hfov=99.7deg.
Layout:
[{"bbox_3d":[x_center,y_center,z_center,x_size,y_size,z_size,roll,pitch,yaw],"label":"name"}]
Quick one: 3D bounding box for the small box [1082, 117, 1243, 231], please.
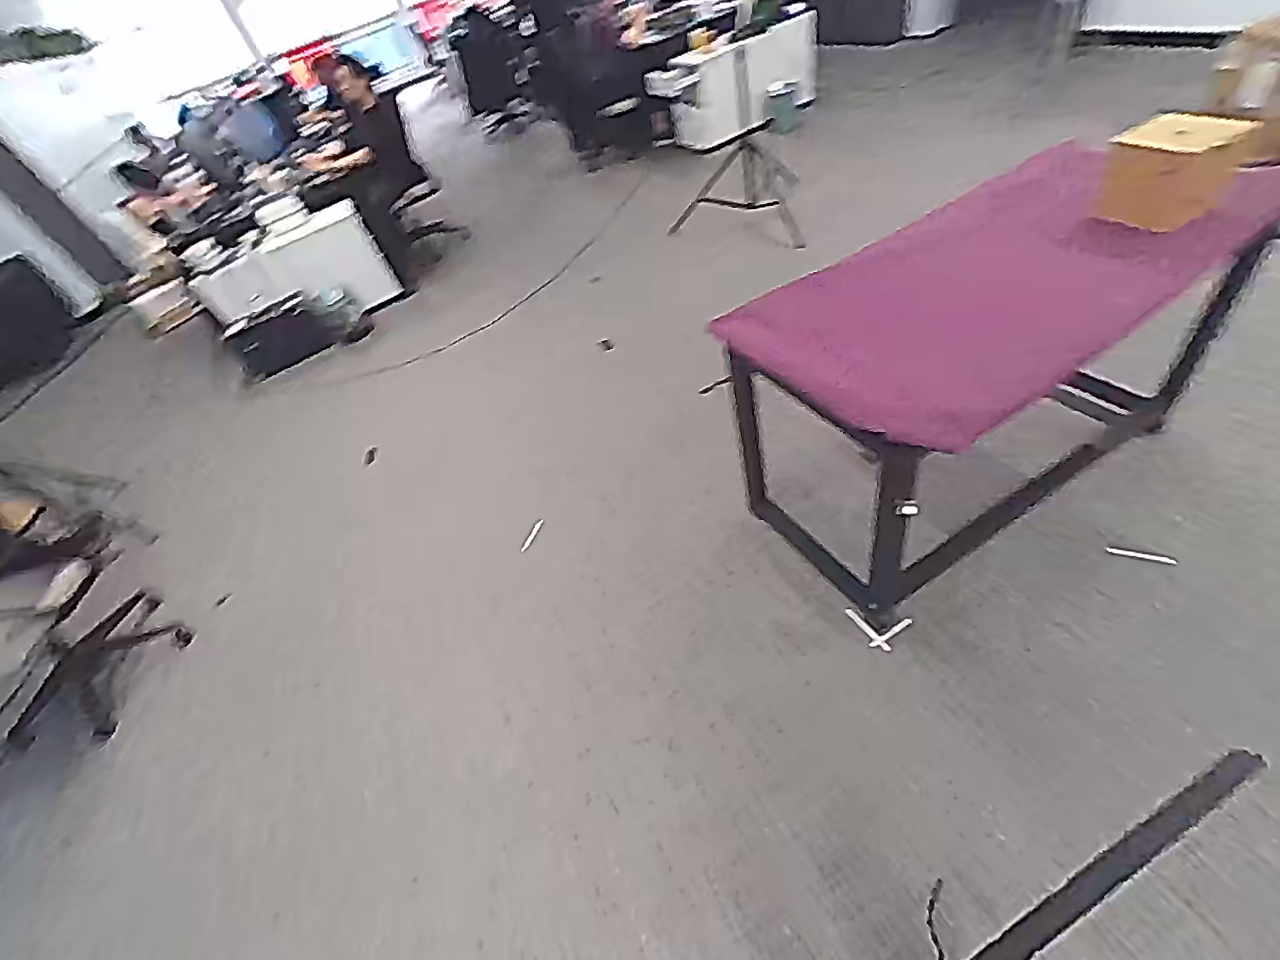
[{"bbox_3d":[1.156,-0.685,1.216,0.168,0.176,0.179,-28,45,-7],"label":"small box"}]
